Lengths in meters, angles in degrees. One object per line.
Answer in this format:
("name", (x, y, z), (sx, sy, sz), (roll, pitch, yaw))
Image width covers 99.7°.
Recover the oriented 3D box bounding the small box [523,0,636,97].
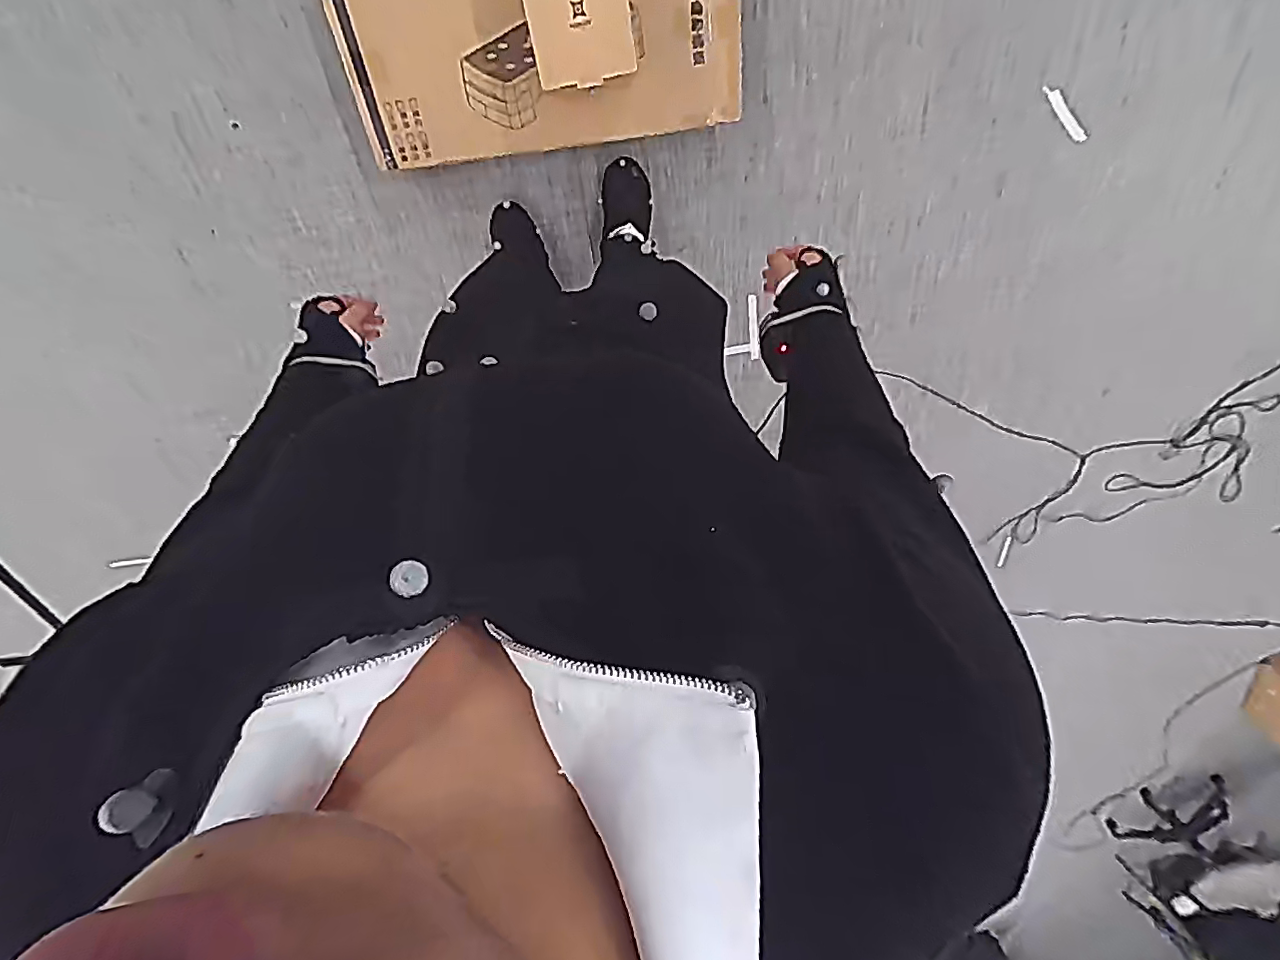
("small box", (-0.100, -0.774, 0.924), (0.168, 0.176, 0.179), (-9, 124, 2))
